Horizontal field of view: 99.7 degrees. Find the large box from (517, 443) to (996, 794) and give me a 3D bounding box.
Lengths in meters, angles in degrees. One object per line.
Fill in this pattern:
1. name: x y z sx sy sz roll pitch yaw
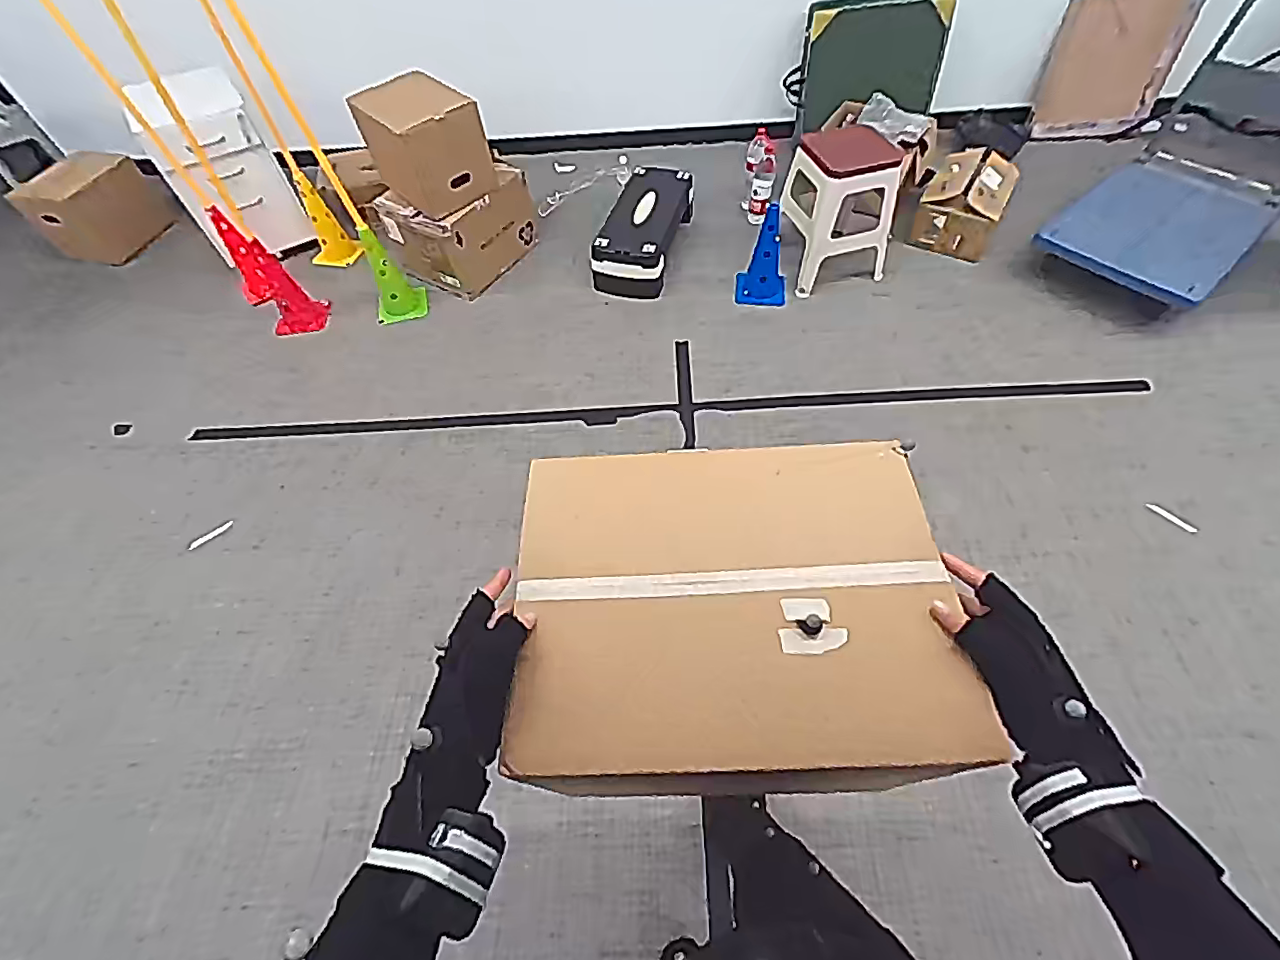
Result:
1. large box: 0.094 0.179 0.647 0.408 0.320 0.320 -3 57 2
